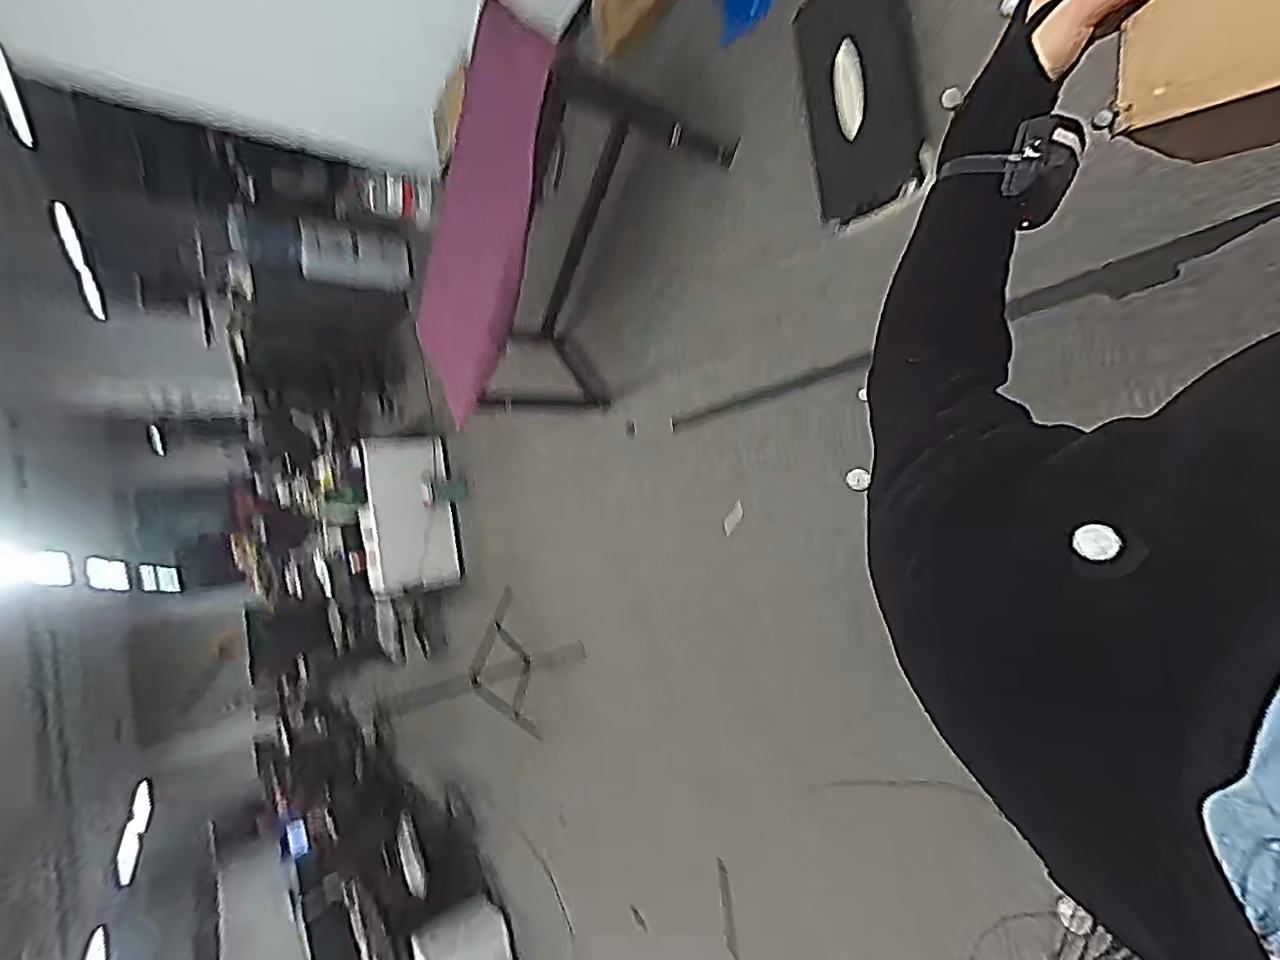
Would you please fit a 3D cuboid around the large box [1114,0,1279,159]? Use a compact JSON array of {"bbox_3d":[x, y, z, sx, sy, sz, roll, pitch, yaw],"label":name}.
[{"bbox_3d":[0.571,-0.429,0.302,0.408,0.320,0.320,7,110,53],"label":"large box"}]
